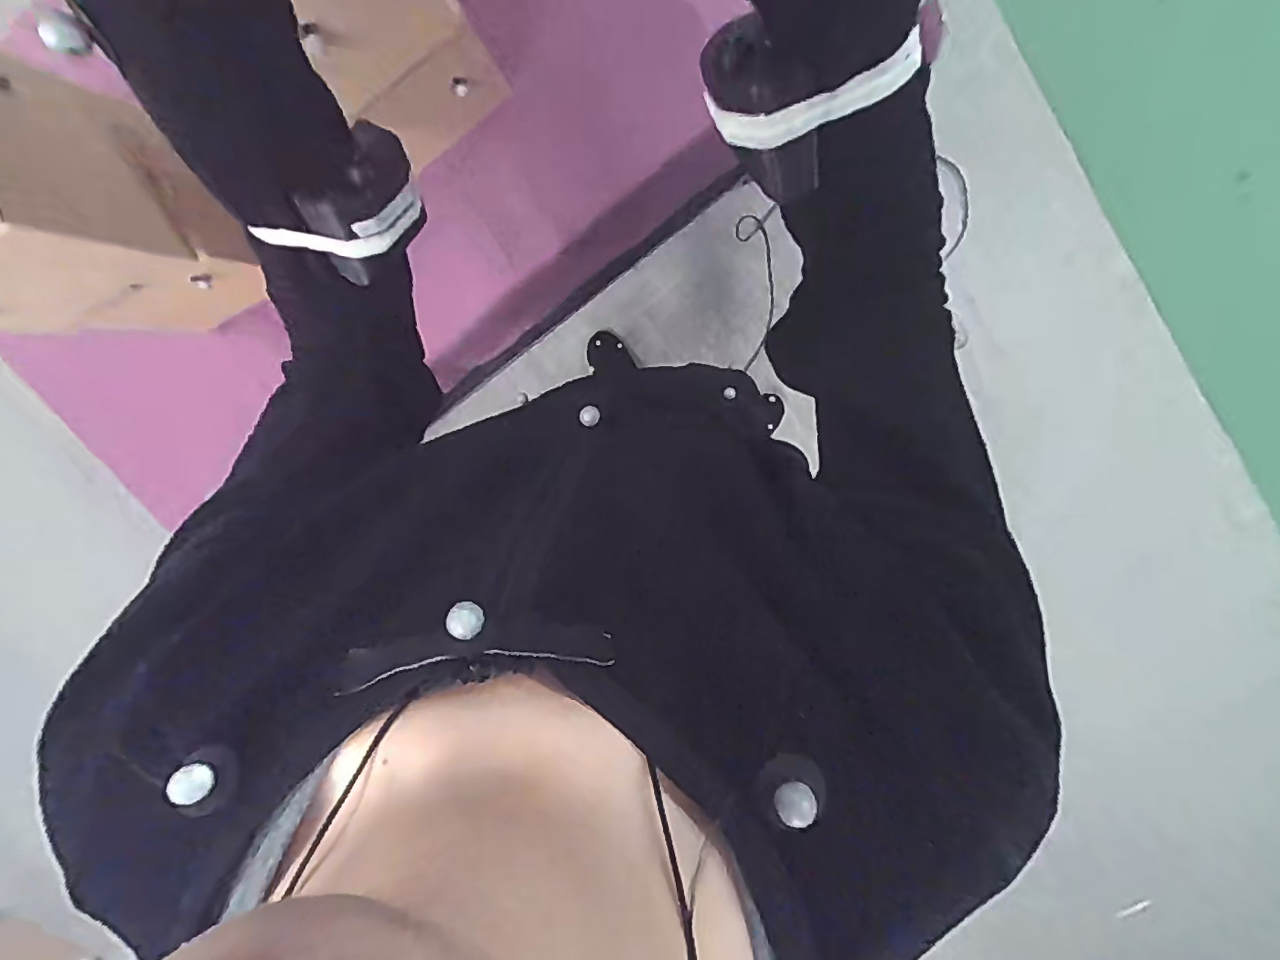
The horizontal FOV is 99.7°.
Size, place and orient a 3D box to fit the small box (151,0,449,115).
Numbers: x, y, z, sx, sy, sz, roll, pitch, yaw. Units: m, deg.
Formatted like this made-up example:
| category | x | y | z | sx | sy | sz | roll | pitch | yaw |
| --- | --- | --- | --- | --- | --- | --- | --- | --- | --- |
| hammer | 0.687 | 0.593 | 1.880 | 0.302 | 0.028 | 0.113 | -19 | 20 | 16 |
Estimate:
| category | x | y | z | sx | sy | sz | roll | pitch | yaw |
| --- | --- | --- | --- | --- | --- | --- | --- | --- | --- |
| small box | -0.283 | -0.434 | 0.418 | 0.179 | 0.176 | 0.168 | -31 | 100 | 10 |

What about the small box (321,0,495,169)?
| category | x | y | z | sx | sy | sz | roll | pitch | yaw |
| --- | --- | --- | --- | --- | --- | --- | --- | --- | --- |
| small box | -0.277 | -0.478 | 0.576 | 0.179 | 0.176 | 0.168 | -34 | 99 | 10 |
